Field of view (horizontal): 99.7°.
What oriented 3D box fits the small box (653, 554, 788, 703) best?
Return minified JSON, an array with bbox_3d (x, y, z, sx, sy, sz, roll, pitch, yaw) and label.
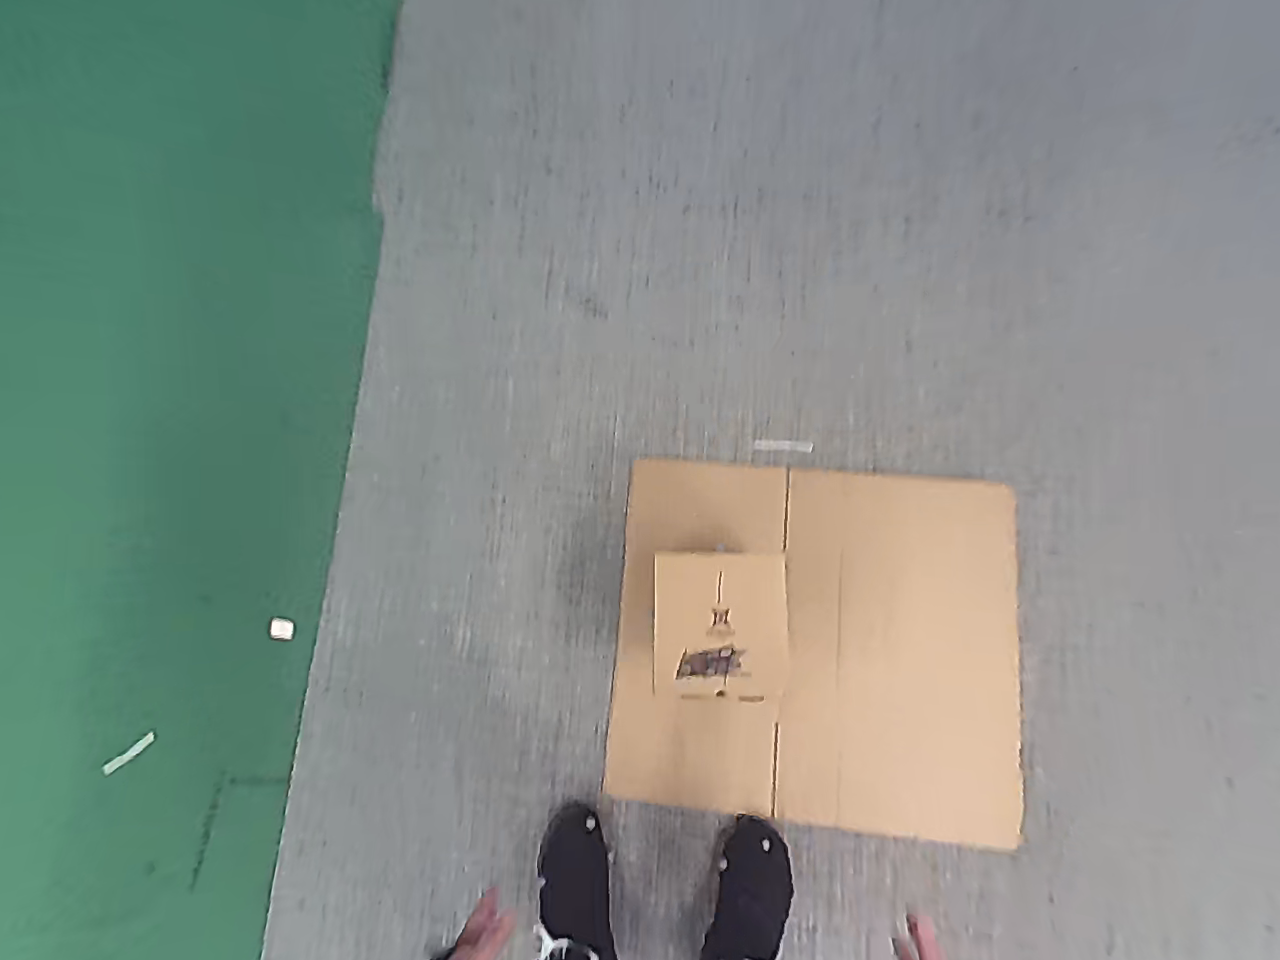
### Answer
[{"bbox_3d":[0.107,0.193,0.742,0.168,0.176,0.179,0,79,6],"label":"small box"}]
